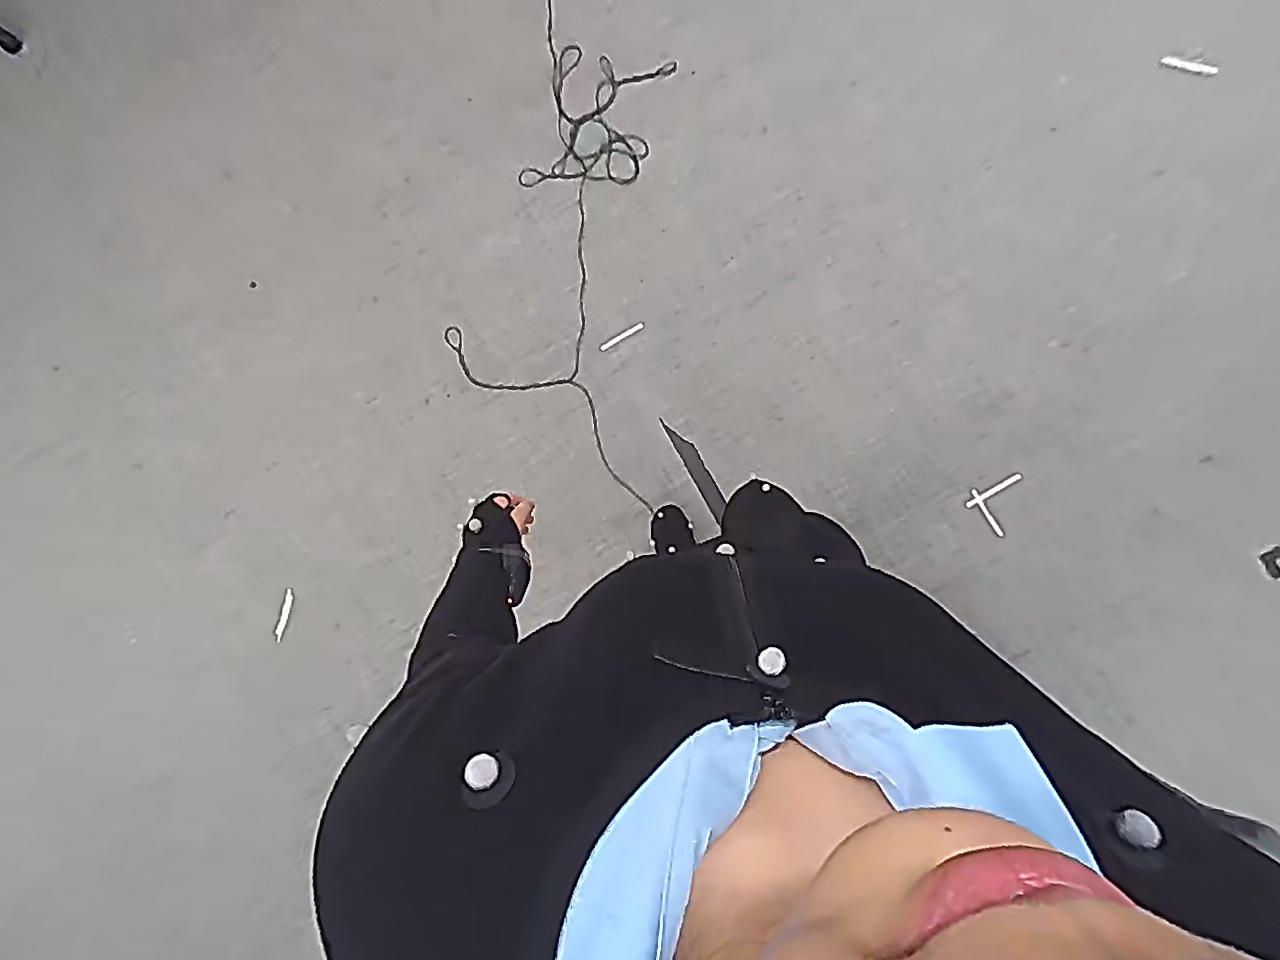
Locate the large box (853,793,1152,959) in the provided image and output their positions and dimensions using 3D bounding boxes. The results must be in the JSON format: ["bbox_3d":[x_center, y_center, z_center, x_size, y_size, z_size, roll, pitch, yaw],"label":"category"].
[{"bbox_3d":[0.714,0.909,1.093,0.408,0.320,0.320,-19,86,5],"label":"large box"}]
